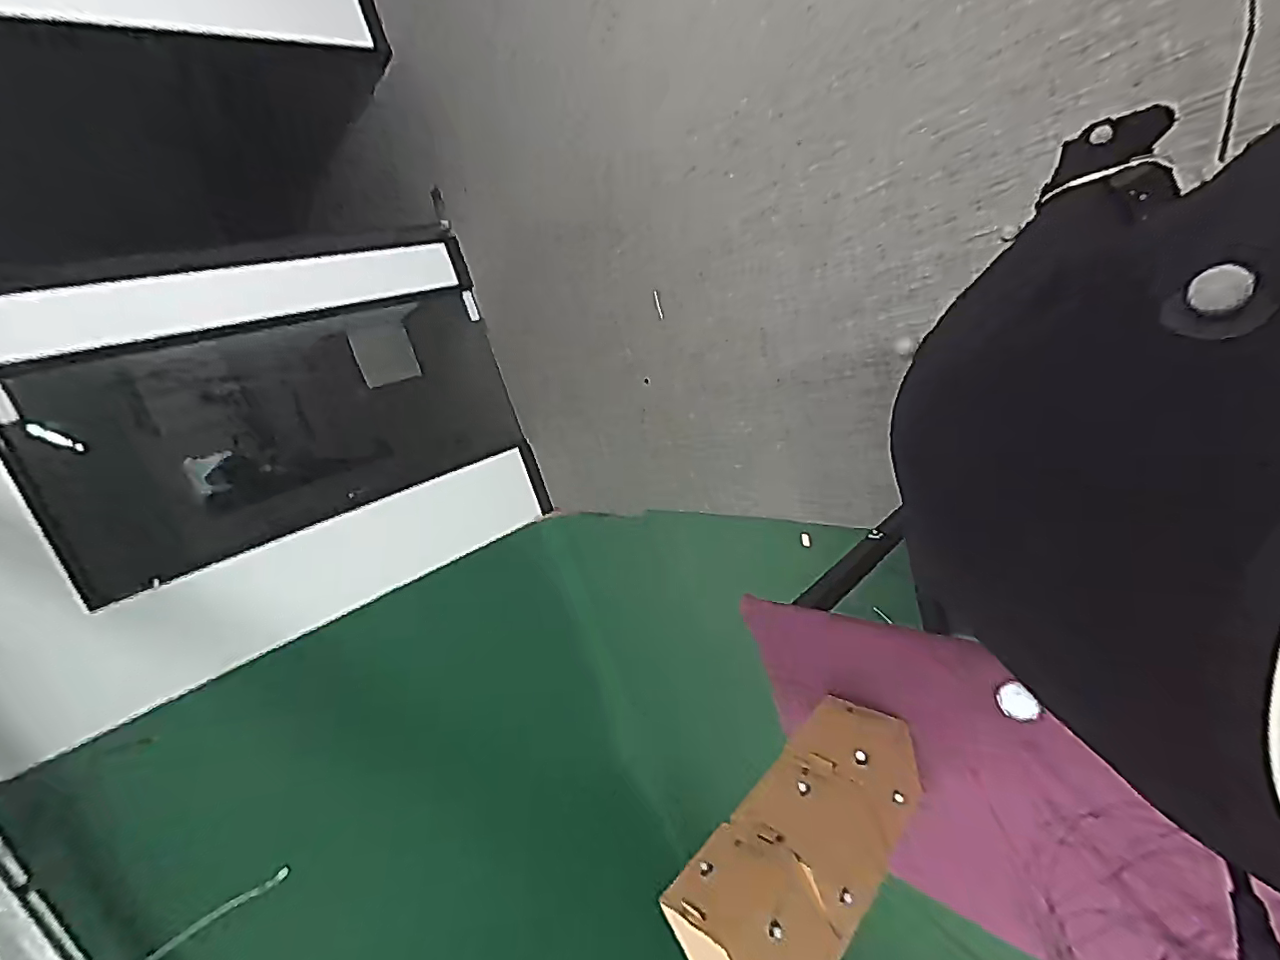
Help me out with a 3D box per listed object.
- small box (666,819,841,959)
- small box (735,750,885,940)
[{"bbox_3d":[0.178,0.681,0.849,0.168,0.176,0.179,-22,95,55],"label":"small box"},{"bbox_3d":[0.299,0.616,0.938,0.168,0.176,0.179,-4,110,52],"label":"small box"}]
